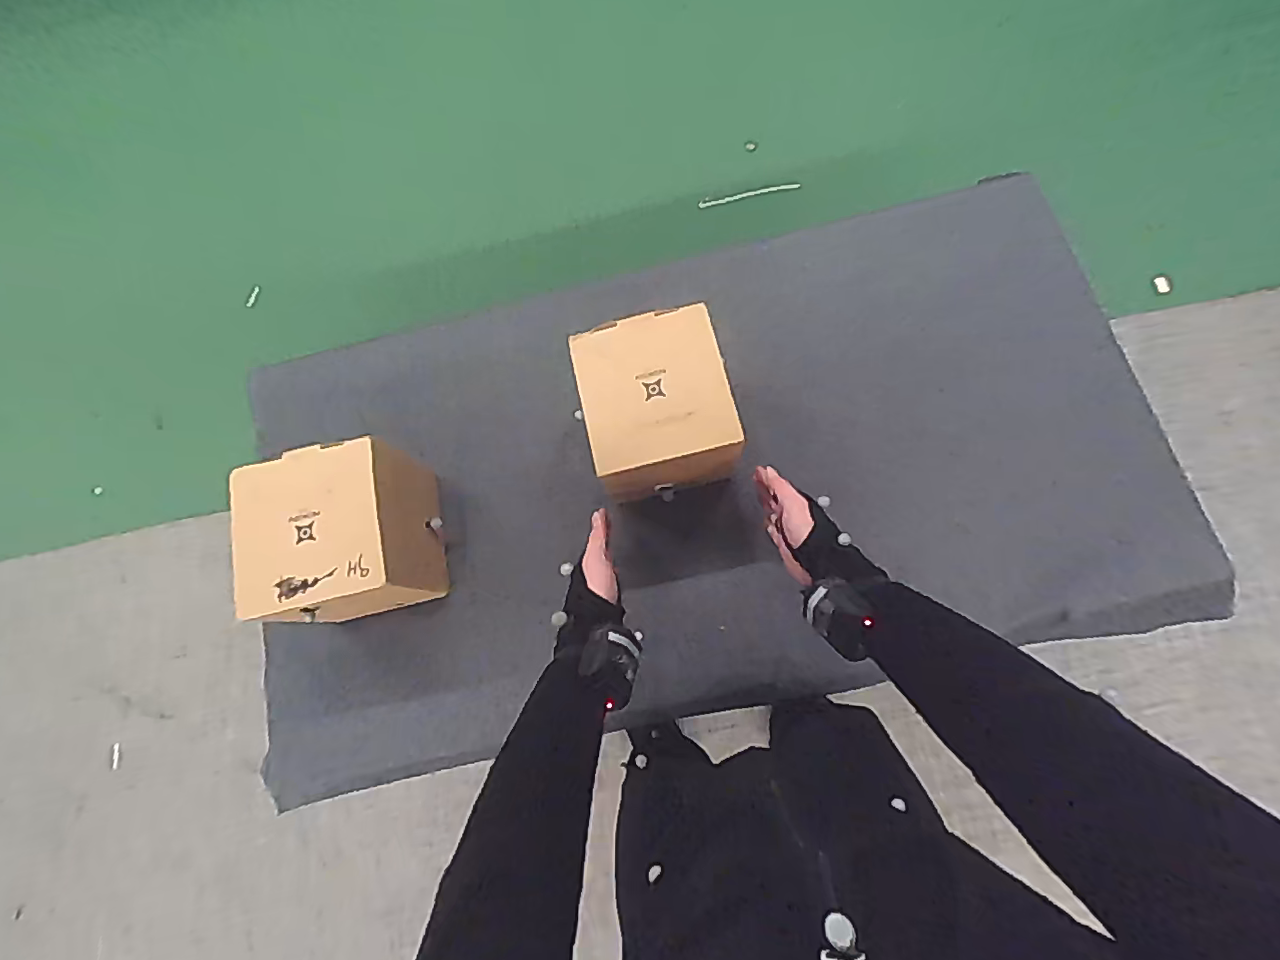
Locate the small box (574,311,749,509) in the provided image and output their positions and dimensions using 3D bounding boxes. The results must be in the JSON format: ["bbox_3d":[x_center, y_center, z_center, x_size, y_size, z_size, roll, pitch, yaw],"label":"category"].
[{"bbox_3d":[0.026,-0.076,0.678,0.168,0.176,0.179,-15,76,2],"label":"small box"}]

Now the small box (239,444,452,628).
[{"bbox_3d":[-0.351,0.079,0.667,0.168,0.176,0.179,-14,74,2],"label":"small box"}]
